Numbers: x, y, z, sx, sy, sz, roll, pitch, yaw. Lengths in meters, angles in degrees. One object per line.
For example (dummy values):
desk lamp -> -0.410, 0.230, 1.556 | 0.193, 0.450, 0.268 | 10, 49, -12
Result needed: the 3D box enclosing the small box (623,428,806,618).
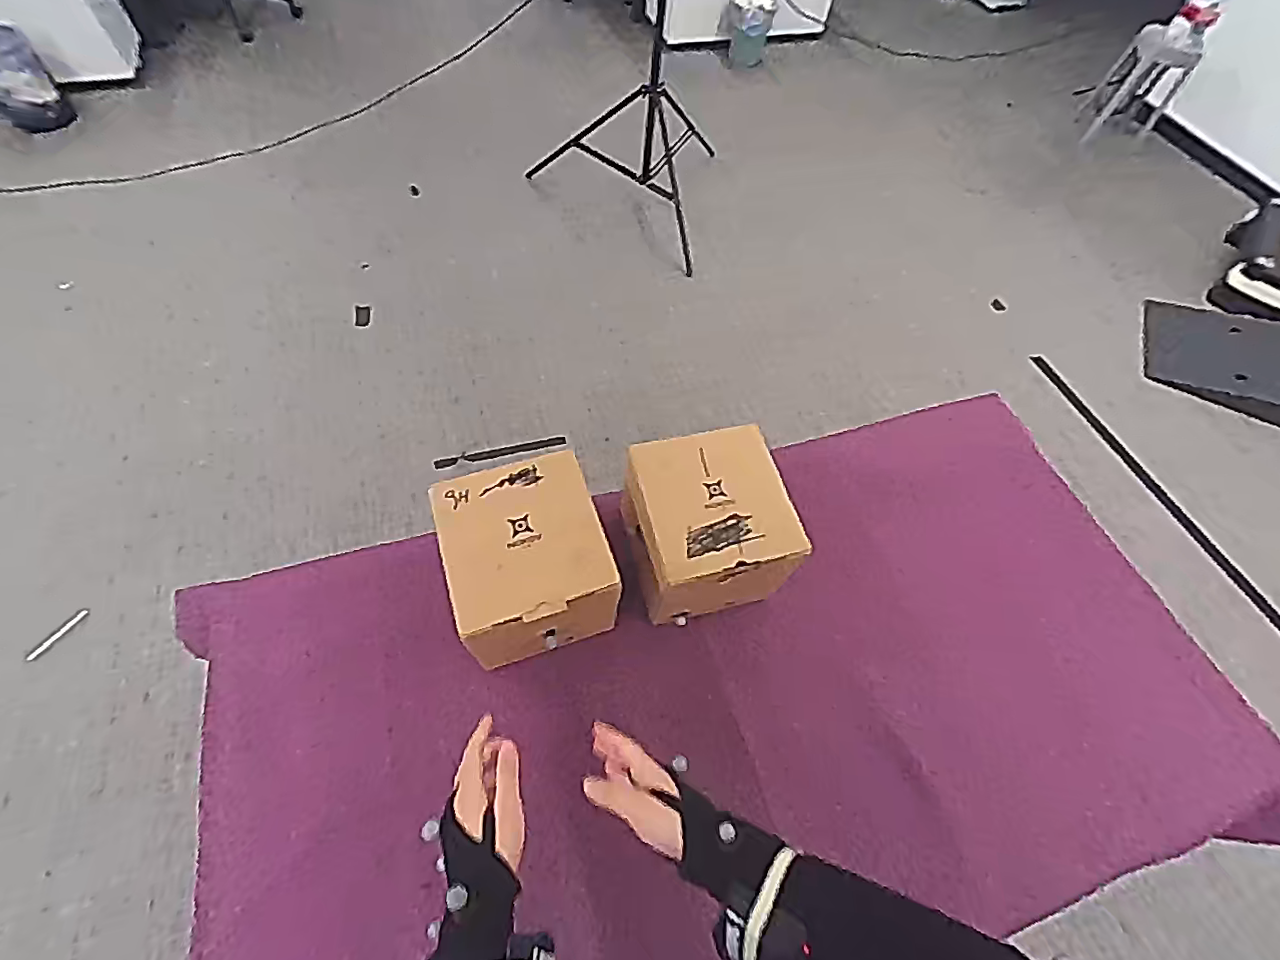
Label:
small box -> 0.078, 0.063, 0.681 | 0.168, 0.176, 0.179 | -11, 62, -11
